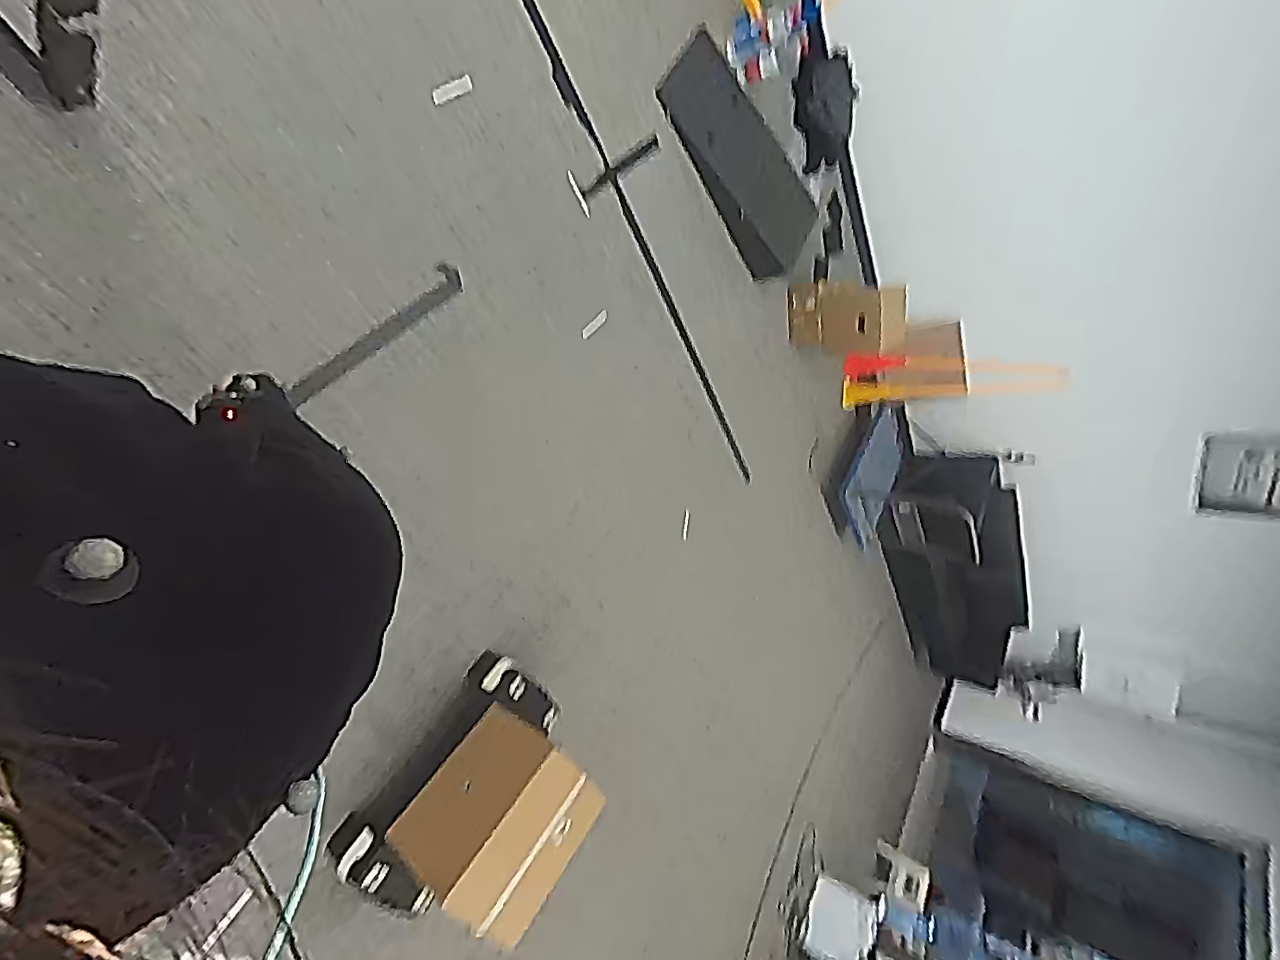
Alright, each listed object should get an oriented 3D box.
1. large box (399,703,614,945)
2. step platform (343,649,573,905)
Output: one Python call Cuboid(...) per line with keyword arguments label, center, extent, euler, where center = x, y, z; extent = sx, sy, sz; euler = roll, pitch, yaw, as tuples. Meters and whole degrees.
Cuboid(label="large box", center=(-0.351, 0.905, 1.467), extent=(0.408, 0.320, 0.320), euler=(-50, 127, -32))
Cuboid(label="step platform", center=(-0.511, 0.867, 1.642), extent=(0.684, 0.204, 0.286), euler=(-48, 126, -33))
